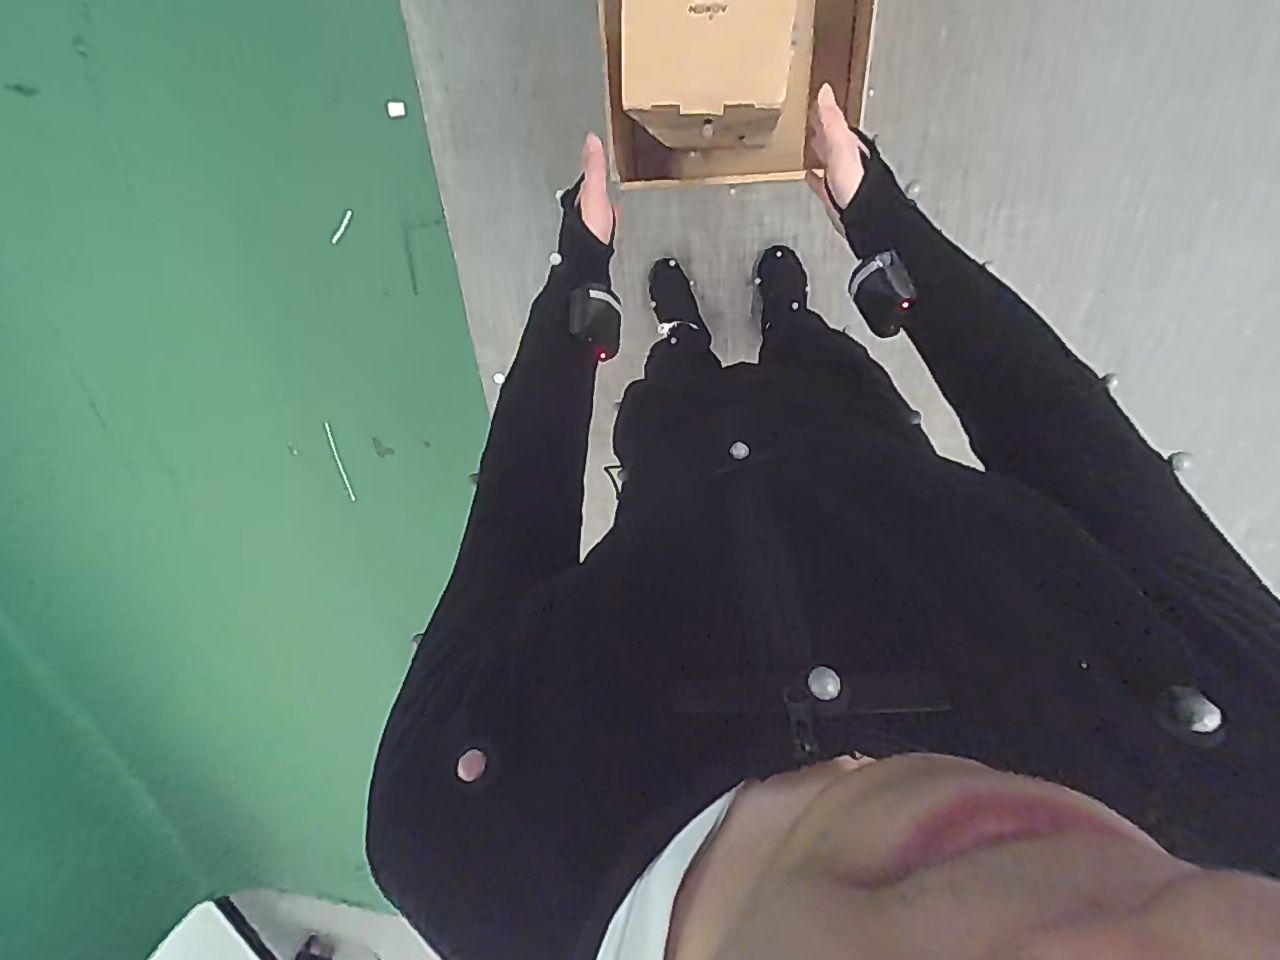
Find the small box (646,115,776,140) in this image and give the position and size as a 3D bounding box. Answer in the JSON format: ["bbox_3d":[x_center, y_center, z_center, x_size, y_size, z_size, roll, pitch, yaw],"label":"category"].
[{"bbox_3d":[0.105,-0.559,0.717,0.168,0.176,0.179,5,116,9],"label":"small box"}]

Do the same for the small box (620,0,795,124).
[{"bbox_3d":[0.077,-0.488,0.572,0.168,0.176,0.179,6,118,8],"label":"small box"}]
